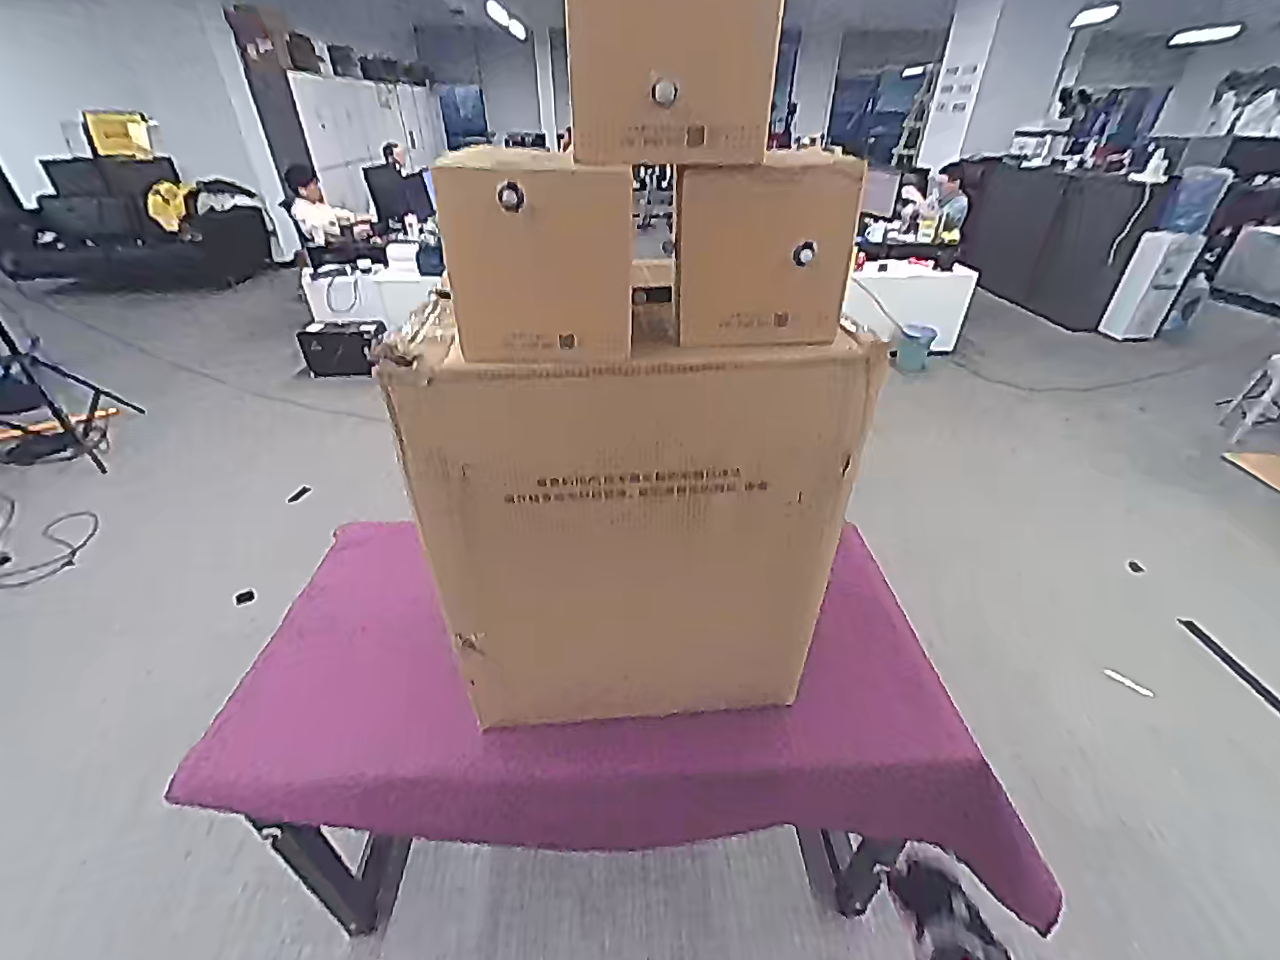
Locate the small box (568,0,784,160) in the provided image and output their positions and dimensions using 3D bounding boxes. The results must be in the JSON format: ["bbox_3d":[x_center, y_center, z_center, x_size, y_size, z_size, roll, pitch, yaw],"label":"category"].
[{"bbox_3d":[0.025,-0.391,0.482,0.168,0.176,0.179,-1,35,-2],"label":"small box"}]

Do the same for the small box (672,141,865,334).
[{"bbox_3d":[0.120,-0.263,0.585,0.168,0.176,0.179,0,33,0],"label":"small box"}]
